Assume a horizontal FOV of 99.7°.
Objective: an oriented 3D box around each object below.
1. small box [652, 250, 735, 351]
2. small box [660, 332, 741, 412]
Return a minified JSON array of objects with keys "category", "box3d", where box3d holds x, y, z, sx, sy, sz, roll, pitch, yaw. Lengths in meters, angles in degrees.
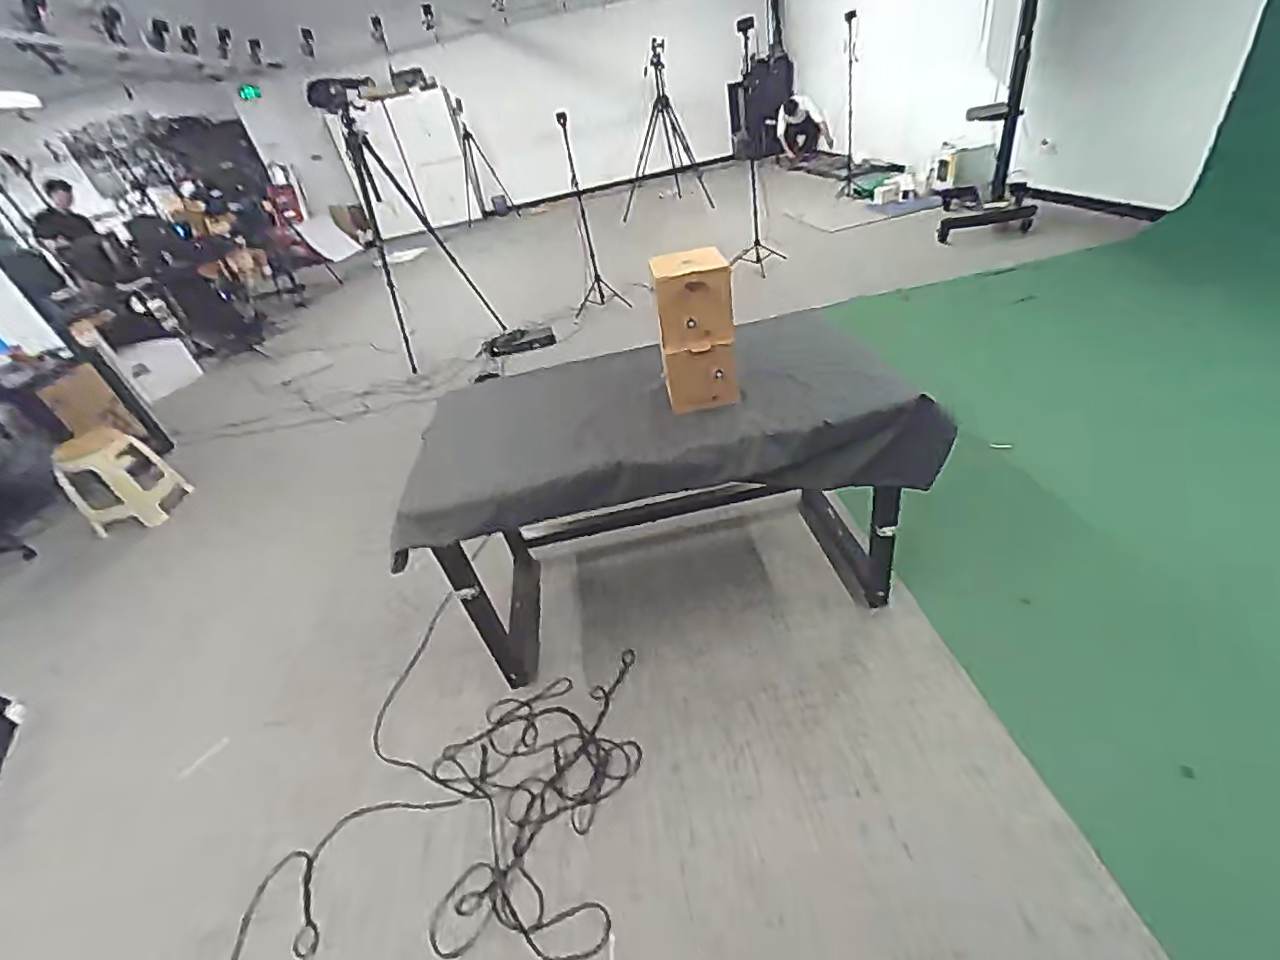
[{"category":"small box","box3d":[0.124,-0.420,1.267,0.168,0.176,0.179,-10,36,2]},{"category":"small box","box3d":[0.150,-0.280,1.348,0.168,0.176,0.179,-10,34,2]}]
